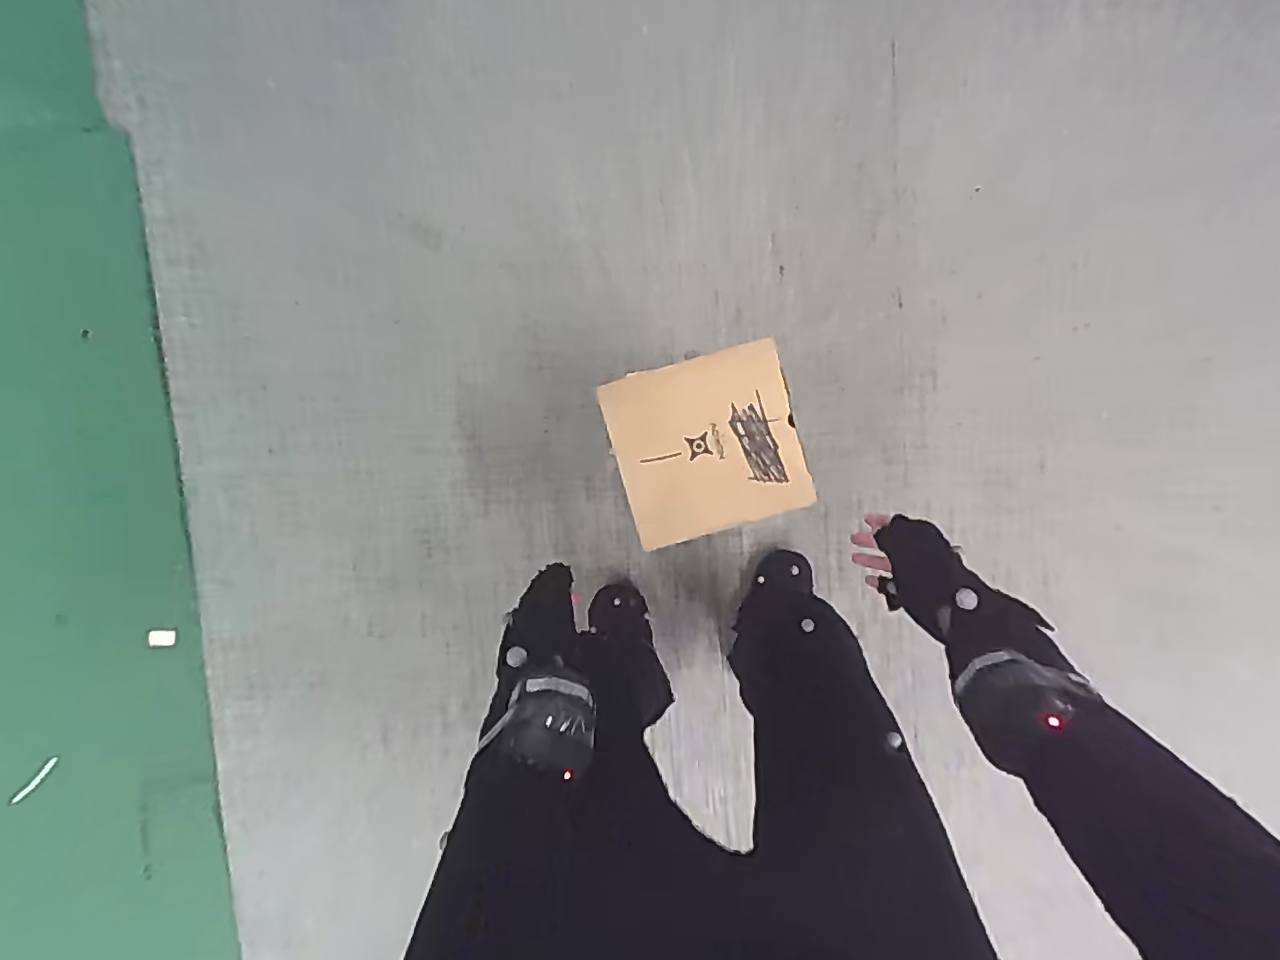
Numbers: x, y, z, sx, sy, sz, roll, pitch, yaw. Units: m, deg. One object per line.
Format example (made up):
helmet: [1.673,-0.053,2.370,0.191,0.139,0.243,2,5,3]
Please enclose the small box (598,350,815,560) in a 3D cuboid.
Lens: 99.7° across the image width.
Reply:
small box: [0.063,-0.028,0.589,0.179,0.176,0.168,-16,93,2]
